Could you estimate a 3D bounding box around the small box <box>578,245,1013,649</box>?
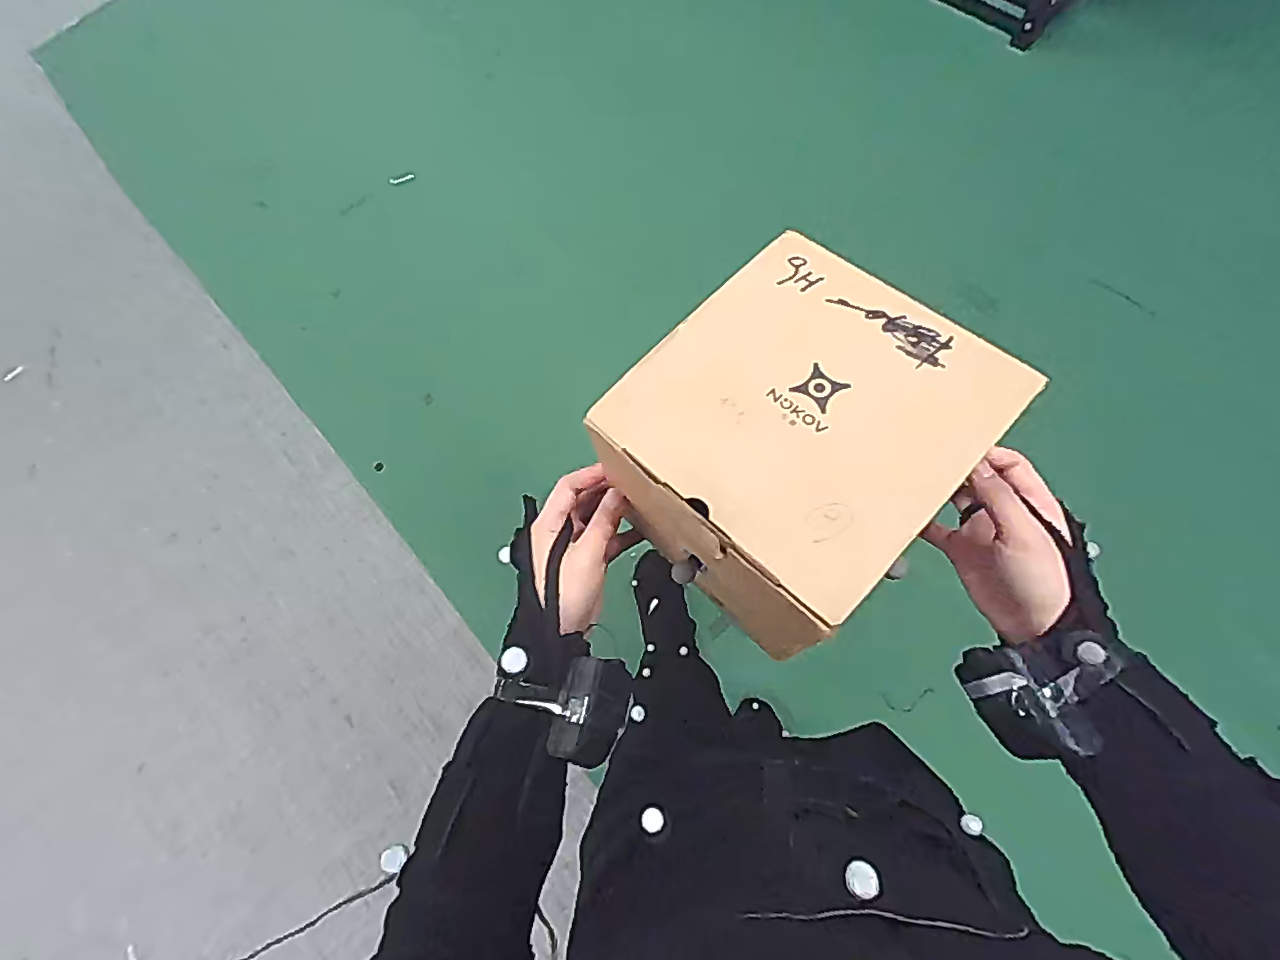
[{"bbox_3d":[0.090,-0.008,0.365,0.179,0.176,0.168,-44,69,-11],"label":"small box"}]
